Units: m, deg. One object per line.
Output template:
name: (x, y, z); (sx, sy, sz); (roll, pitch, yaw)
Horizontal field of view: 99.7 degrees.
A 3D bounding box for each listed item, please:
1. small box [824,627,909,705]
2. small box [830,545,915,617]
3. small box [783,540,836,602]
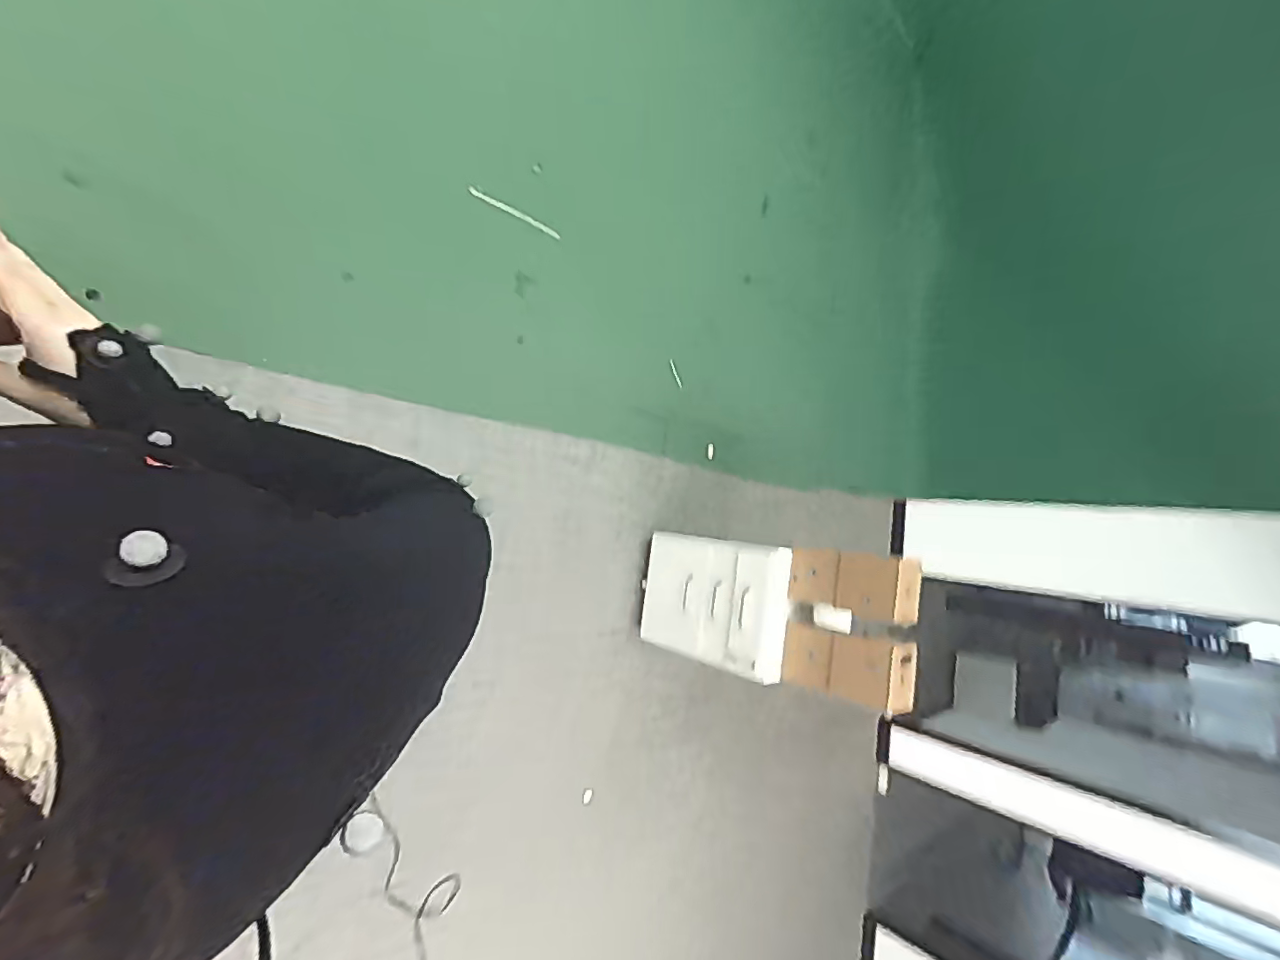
small box: (0.641, 0.521, 1.537); (0.168, 0.176, 0.179); (15, 81, -42)
small box: (0.663, 0.287, 1.551); (0.168, 0.176, 0.179); (11, 84, -43)
small box: (0.565, 0.284, 1.681); (0.179, 0.176, 0.168); (13, 85, -42)
